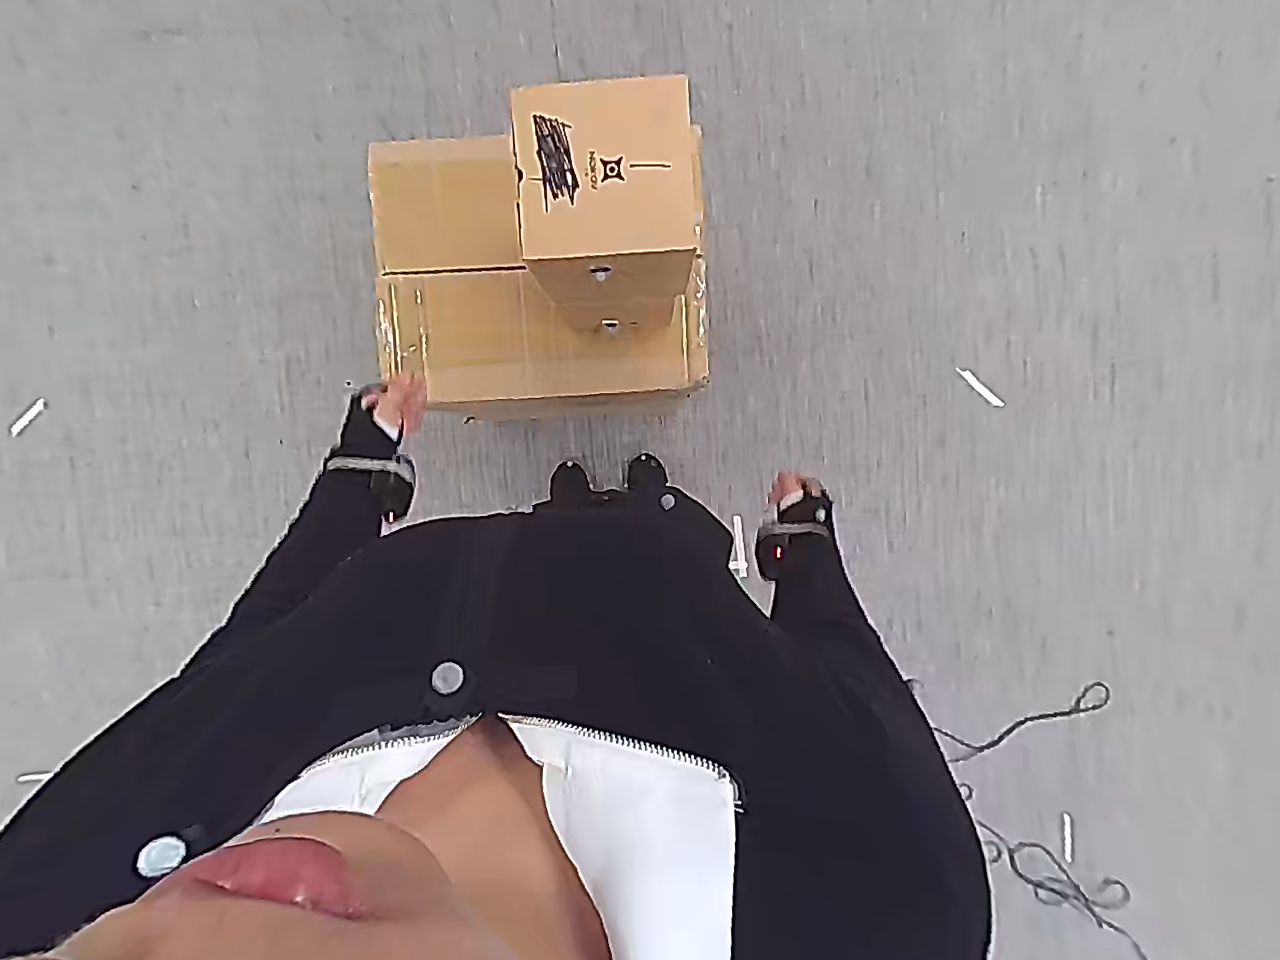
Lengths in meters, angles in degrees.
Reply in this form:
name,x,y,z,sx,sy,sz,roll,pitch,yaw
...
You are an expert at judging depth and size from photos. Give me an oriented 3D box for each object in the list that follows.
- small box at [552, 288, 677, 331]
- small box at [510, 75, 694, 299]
name,x,y,z,sx,sy,sz,roll,pitch,yaw
small box,-0.036,-0.323,0.774,0.168,0.176,0.179,-3,95,2
small box,-0.035,-0.311,0.610,0.179,0.176,0.168,-4,94,1
